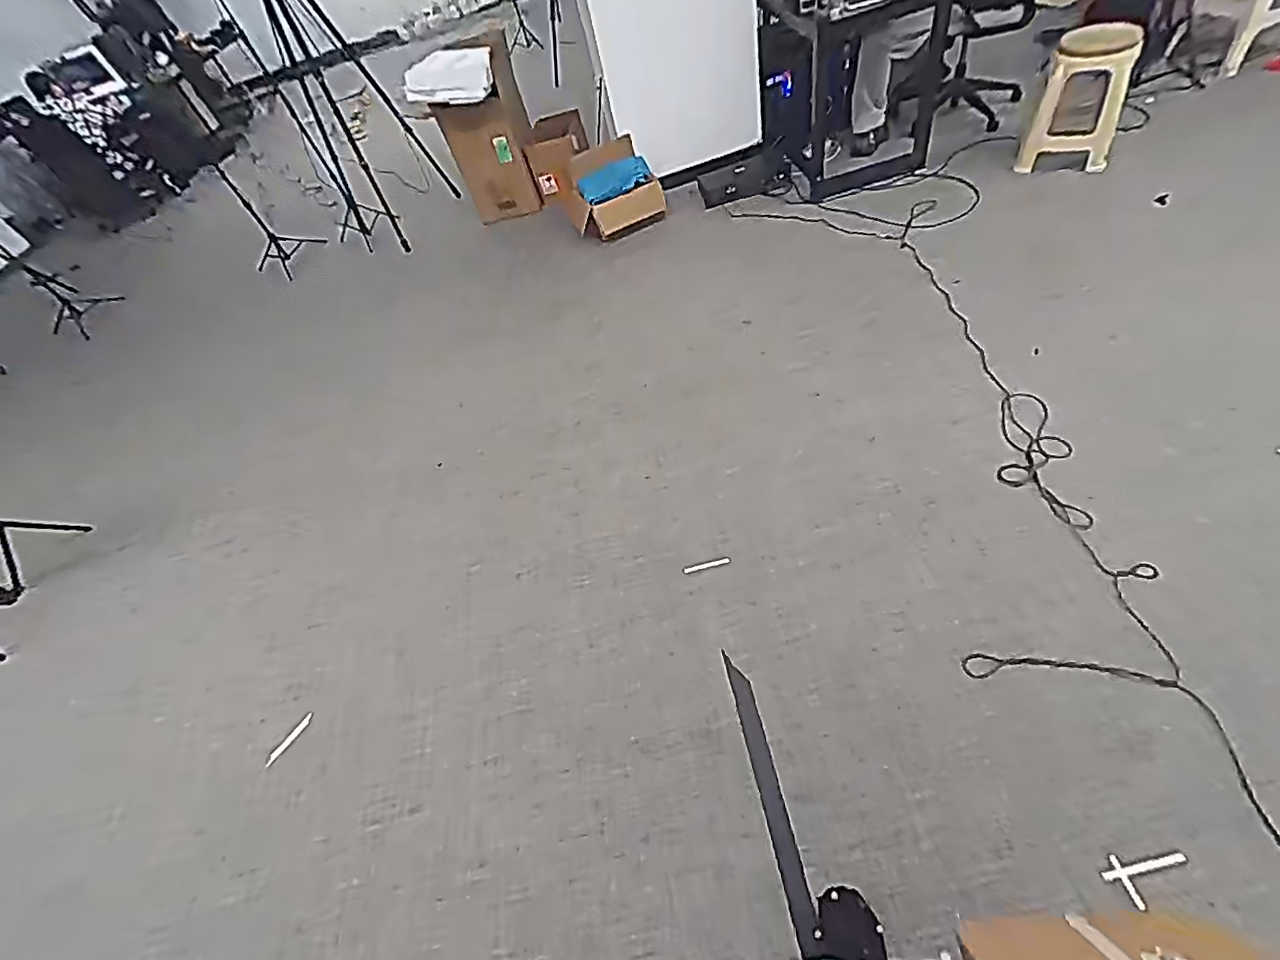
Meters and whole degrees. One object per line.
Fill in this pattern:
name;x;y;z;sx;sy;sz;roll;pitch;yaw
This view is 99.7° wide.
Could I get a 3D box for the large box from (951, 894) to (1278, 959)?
large box;0.598;0.707;0.549;0.320;0.408;0.320;-11;73;7
